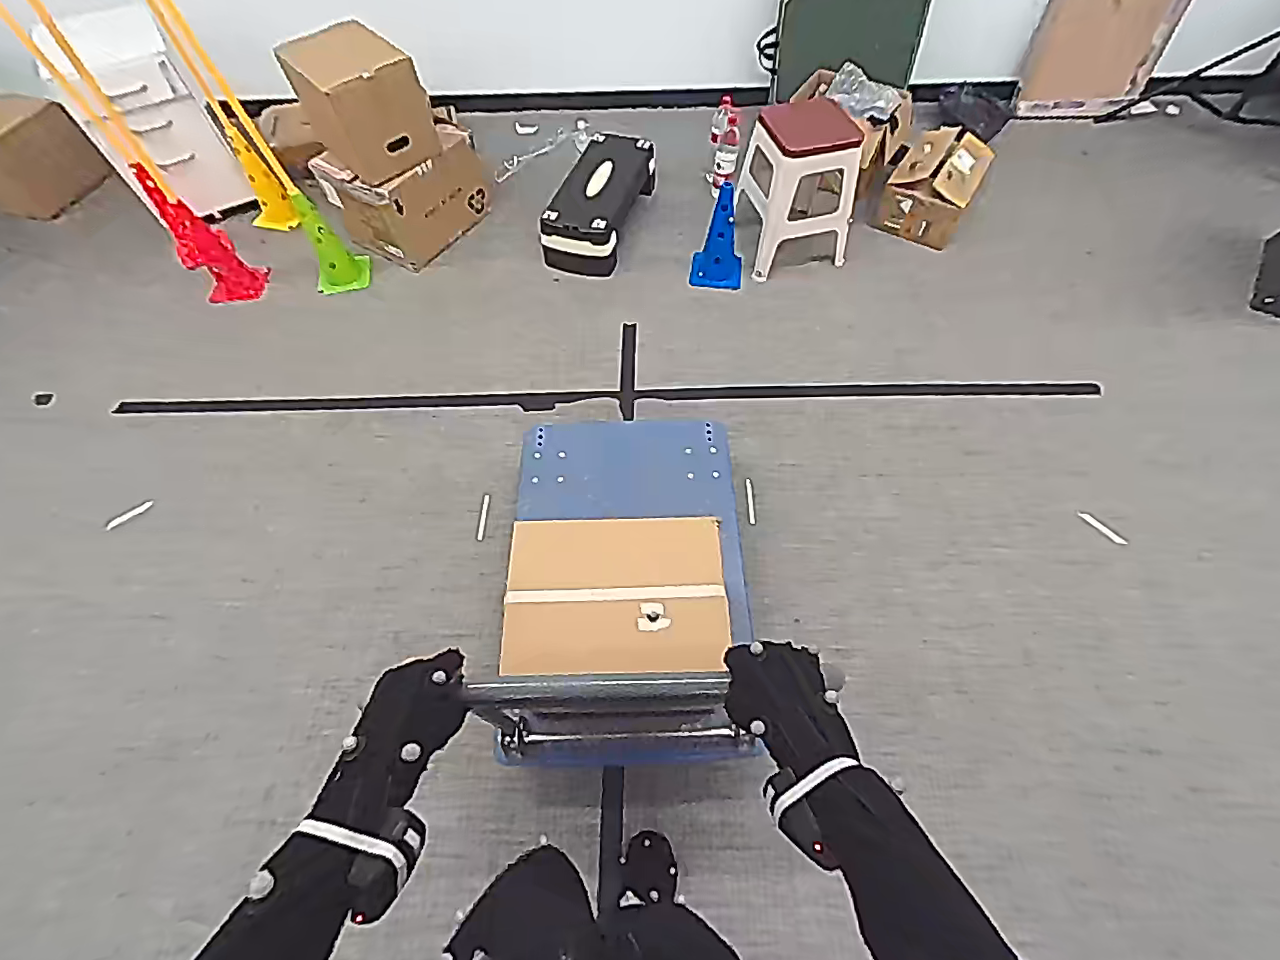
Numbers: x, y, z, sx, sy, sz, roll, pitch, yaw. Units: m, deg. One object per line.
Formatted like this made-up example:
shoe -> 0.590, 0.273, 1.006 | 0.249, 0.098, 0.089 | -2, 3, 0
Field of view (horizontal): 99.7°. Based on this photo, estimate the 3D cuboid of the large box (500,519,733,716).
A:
large box -> -0.048, 0.292, 1.116 | 0.408, 0.320, 0.320 | -1, 59, -1
